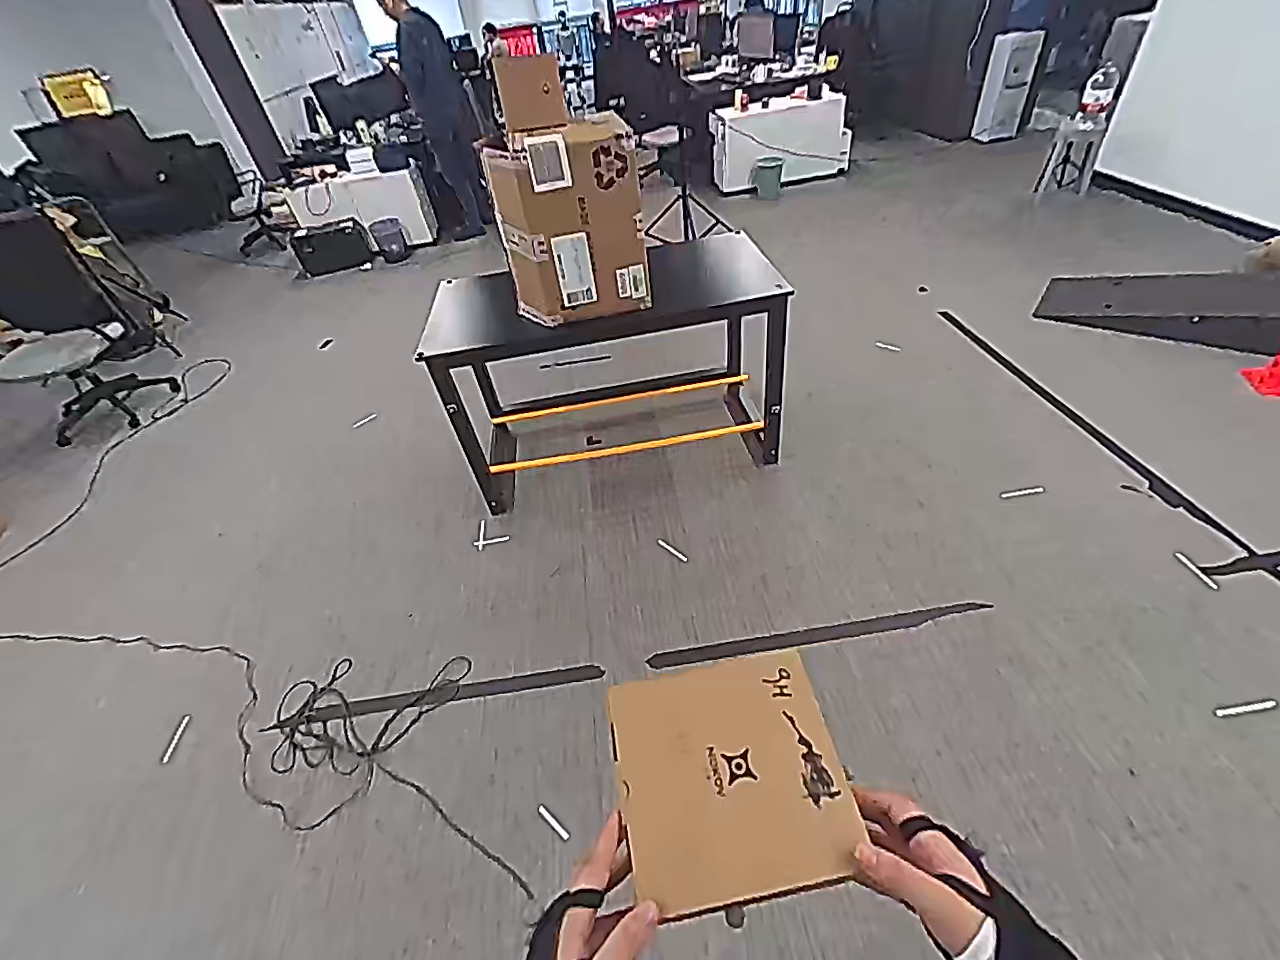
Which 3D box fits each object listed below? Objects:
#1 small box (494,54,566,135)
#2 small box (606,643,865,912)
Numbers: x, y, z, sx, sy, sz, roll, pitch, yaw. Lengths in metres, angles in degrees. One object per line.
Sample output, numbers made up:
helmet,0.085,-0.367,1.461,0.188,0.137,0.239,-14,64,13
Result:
small box,-0.315,-1.121,1.569,0.179,0.176,0.168,-12,39,-4
small box,0.074,0.276,0.496,0.179,0.176,0.168,-11,49,-3
